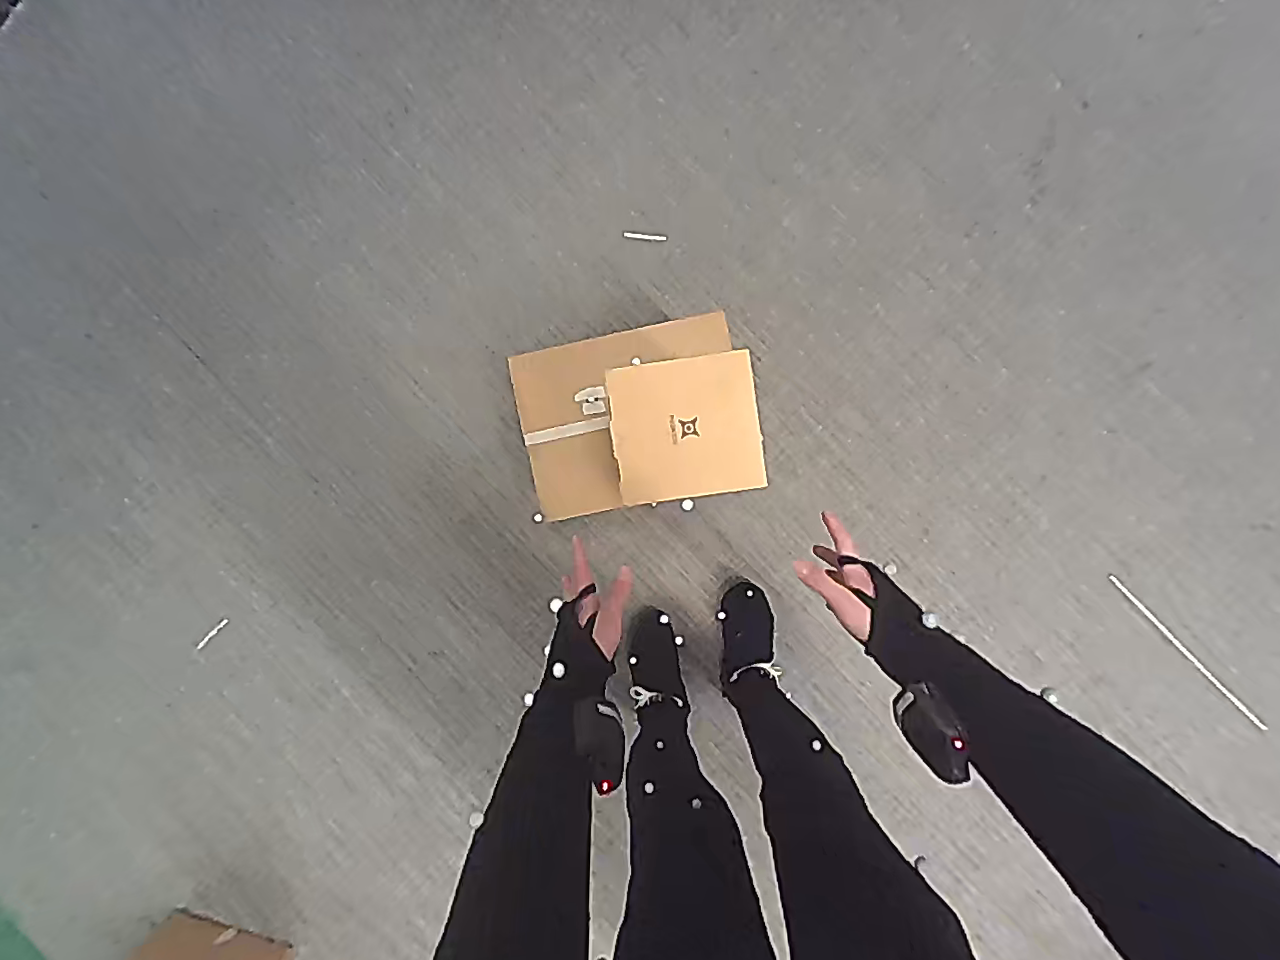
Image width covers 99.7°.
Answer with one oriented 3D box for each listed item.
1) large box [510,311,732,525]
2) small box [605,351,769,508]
[{"bbox_3d":[-0.004,-0.112,1.116,0.408,0.320,0.320,-12,89,3],"label":"large box"},{"bbox_3d":[0.058,-0.061,0.705,0.179,0.176,0.168,-8,91,4],"label":"small box"}]
